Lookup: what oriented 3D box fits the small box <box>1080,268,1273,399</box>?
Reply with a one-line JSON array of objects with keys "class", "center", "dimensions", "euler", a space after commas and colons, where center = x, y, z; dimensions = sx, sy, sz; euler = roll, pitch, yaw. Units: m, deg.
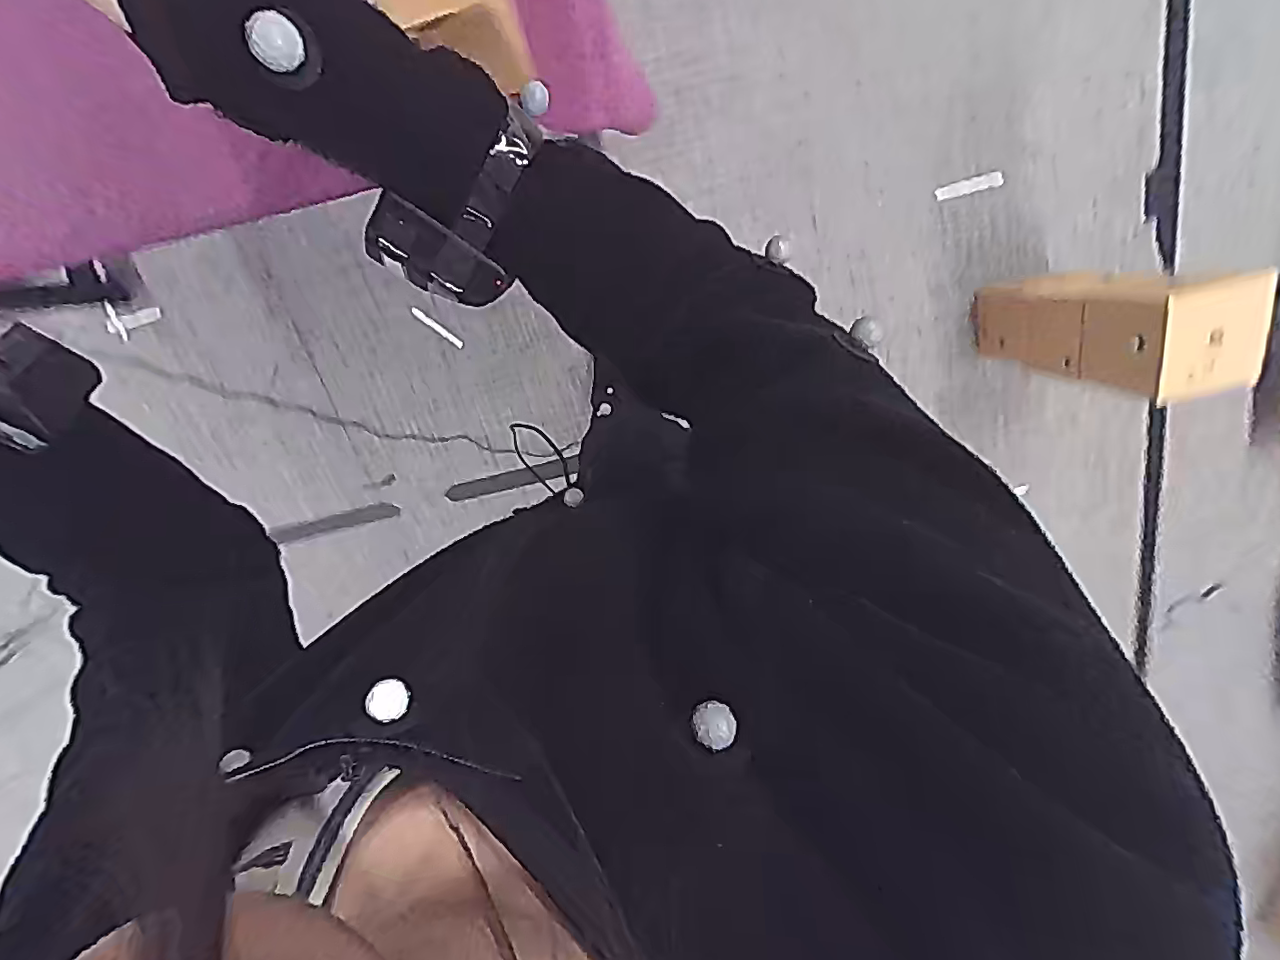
[{"class": "small box", "center": [0.916, -0.260, 0.944], "dimensions": [0.168, 0.176, 0.179], "euler": [-14, 112, 4]}]

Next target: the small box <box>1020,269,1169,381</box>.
[{"class": "small box", "center": [0.910, -0.318, 1.099], "dimensions": [0.168, 0.176, 0.179], "euler": [-15, 112, 4]}]

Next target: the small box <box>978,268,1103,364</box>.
[{"class": "small box", "center": [0.912, -0.381, 1.248], "dimensions": [0.179, 0.176, 0.168], "euler": [-16, 112, 3]}]
